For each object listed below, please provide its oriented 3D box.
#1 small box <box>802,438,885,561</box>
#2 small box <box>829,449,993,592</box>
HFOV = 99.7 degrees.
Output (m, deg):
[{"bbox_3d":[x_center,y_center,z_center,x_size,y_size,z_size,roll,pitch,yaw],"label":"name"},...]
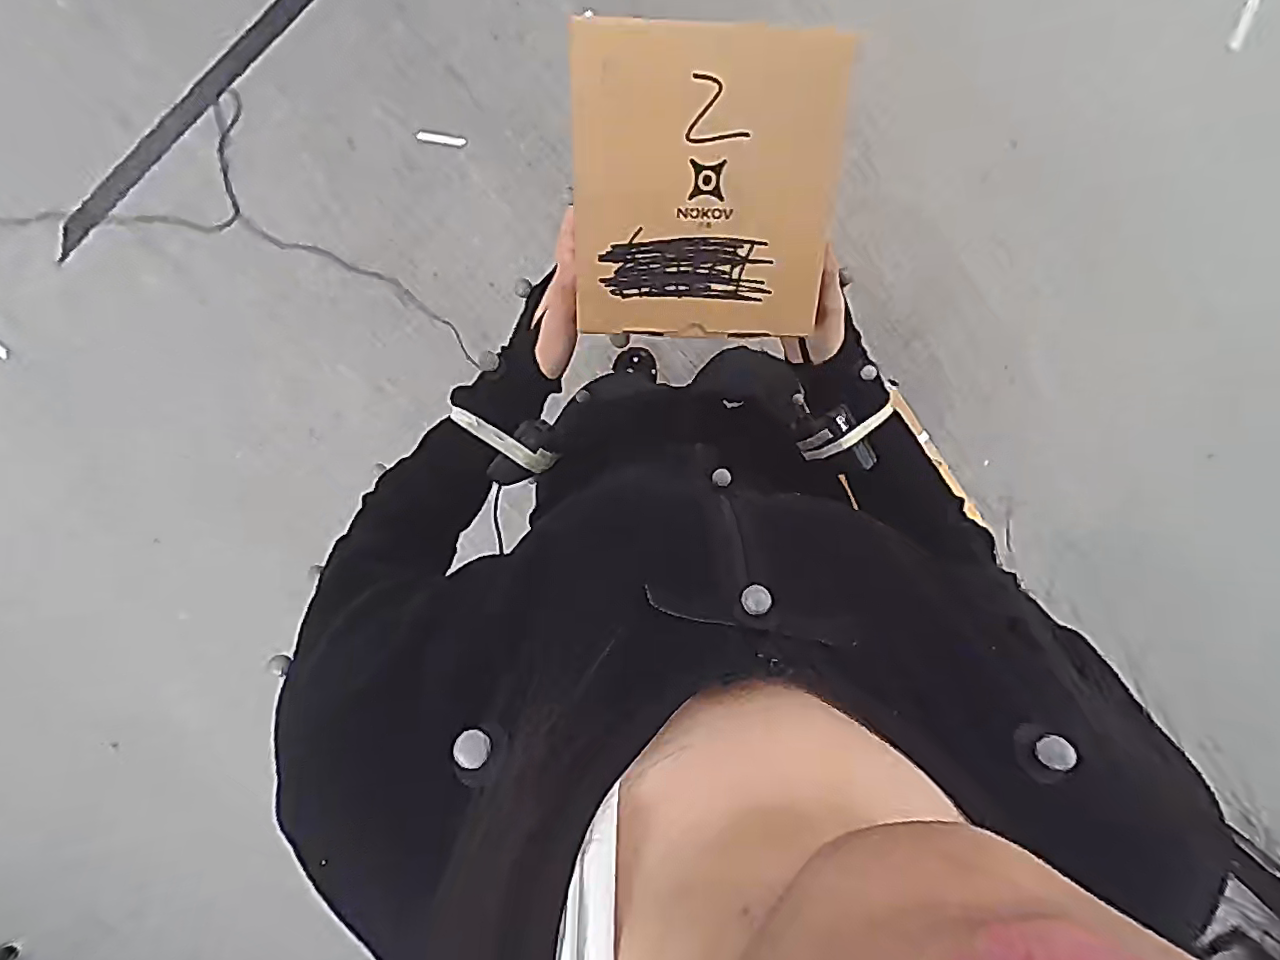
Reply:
[{"bbox_3d":[0.478,0.033,1.148,0.179,0.176,0.168,-41,102,8],"label":"small box"},{"bbox_3d":[0.484,0.065,0.989,0.168,0.176,0.179,-40,102,7],"label":"small box"}]
